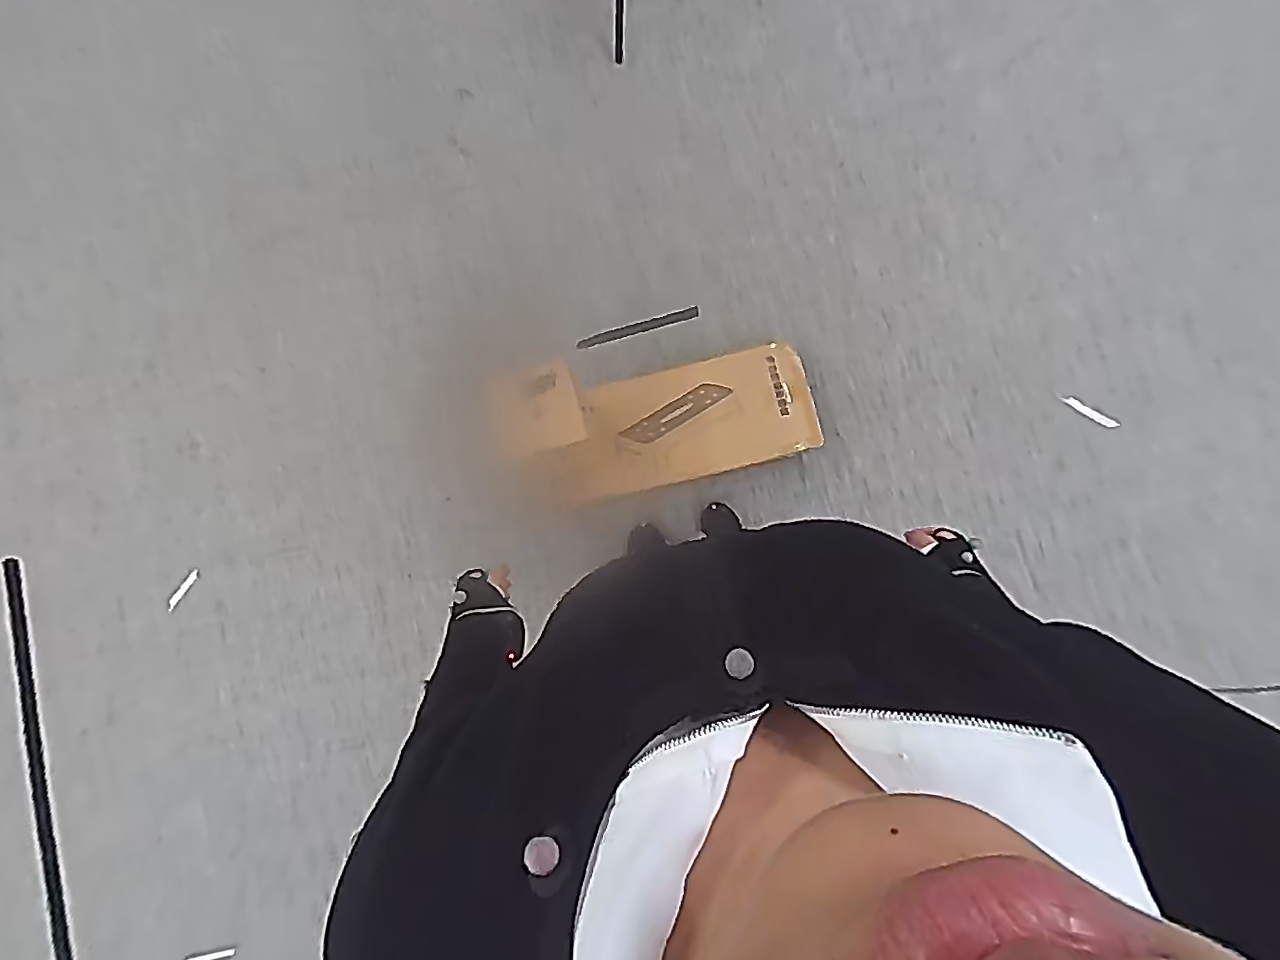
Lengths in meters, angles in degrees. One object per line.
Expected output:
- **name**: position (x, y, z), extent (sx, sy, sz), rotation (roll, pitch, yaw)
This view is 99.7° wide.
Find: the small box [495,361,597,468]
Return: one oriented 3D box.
- **small box**: position (-0.202, -0.137, 1.196), extent (0.168, 0.176, 0.179), rotation (-16, 85, 2)
